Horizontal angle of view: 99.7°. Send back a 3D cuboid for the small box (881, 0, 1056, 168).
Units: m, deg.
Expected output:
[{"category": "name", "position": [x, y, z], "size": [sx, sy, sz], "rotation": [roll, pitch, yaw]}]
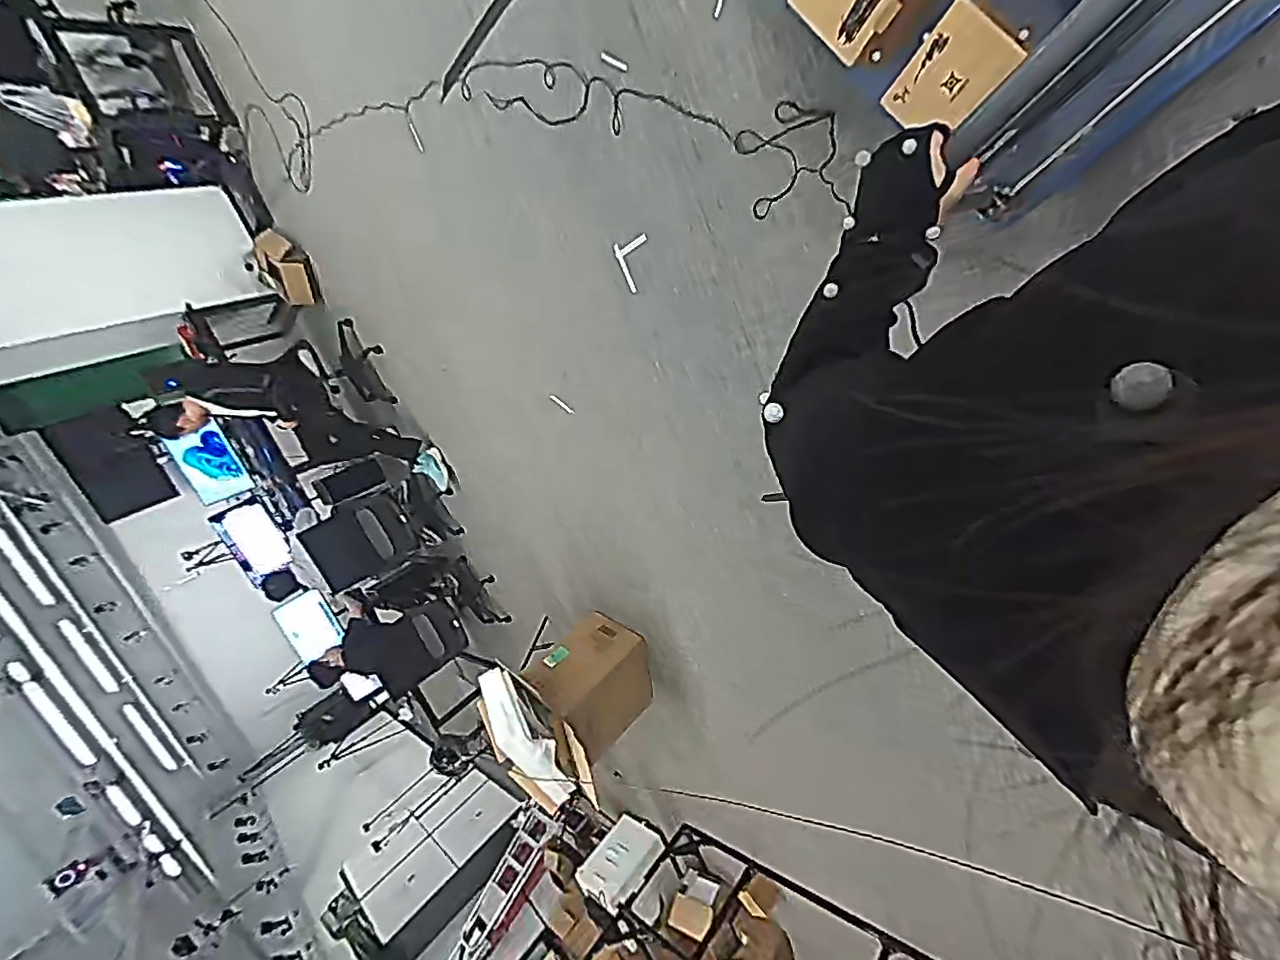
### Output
[{"category": "small box", "position": [0.554, -0.665, 0.910], "size": [0.179, 0.176, 0.168], "rotation": [50, 140, 7]}]
